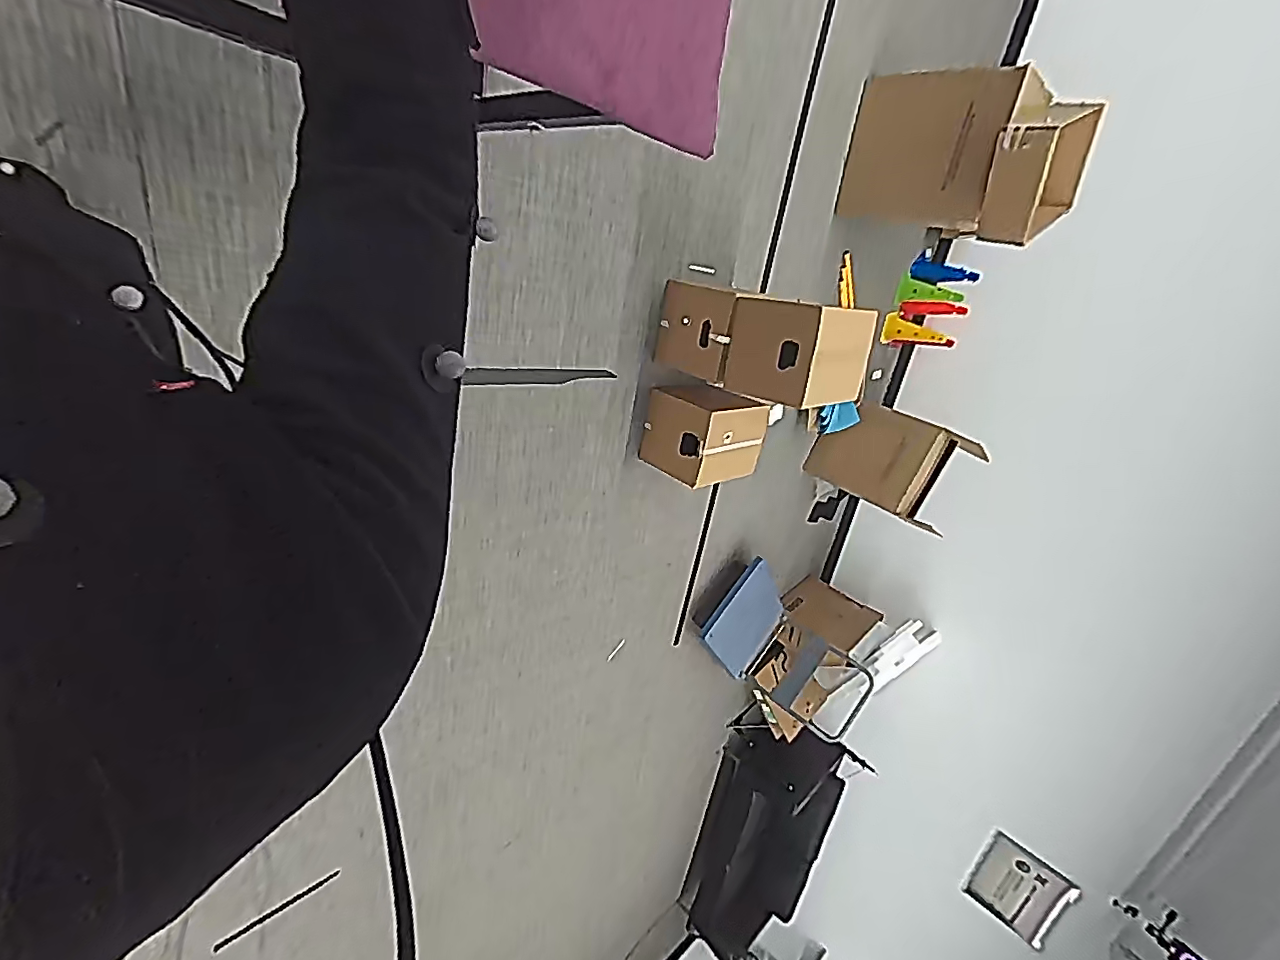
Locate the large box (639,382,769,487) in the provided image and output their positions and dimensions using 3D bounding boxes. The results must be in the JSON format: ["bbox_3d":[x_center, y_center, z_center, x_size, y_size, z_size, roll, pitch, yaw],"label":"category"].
[{"bbox_3d":[0.259,-0.204,2.217,0.408,0.320,0.320,-13,122,-43],"label":"large box"}]
